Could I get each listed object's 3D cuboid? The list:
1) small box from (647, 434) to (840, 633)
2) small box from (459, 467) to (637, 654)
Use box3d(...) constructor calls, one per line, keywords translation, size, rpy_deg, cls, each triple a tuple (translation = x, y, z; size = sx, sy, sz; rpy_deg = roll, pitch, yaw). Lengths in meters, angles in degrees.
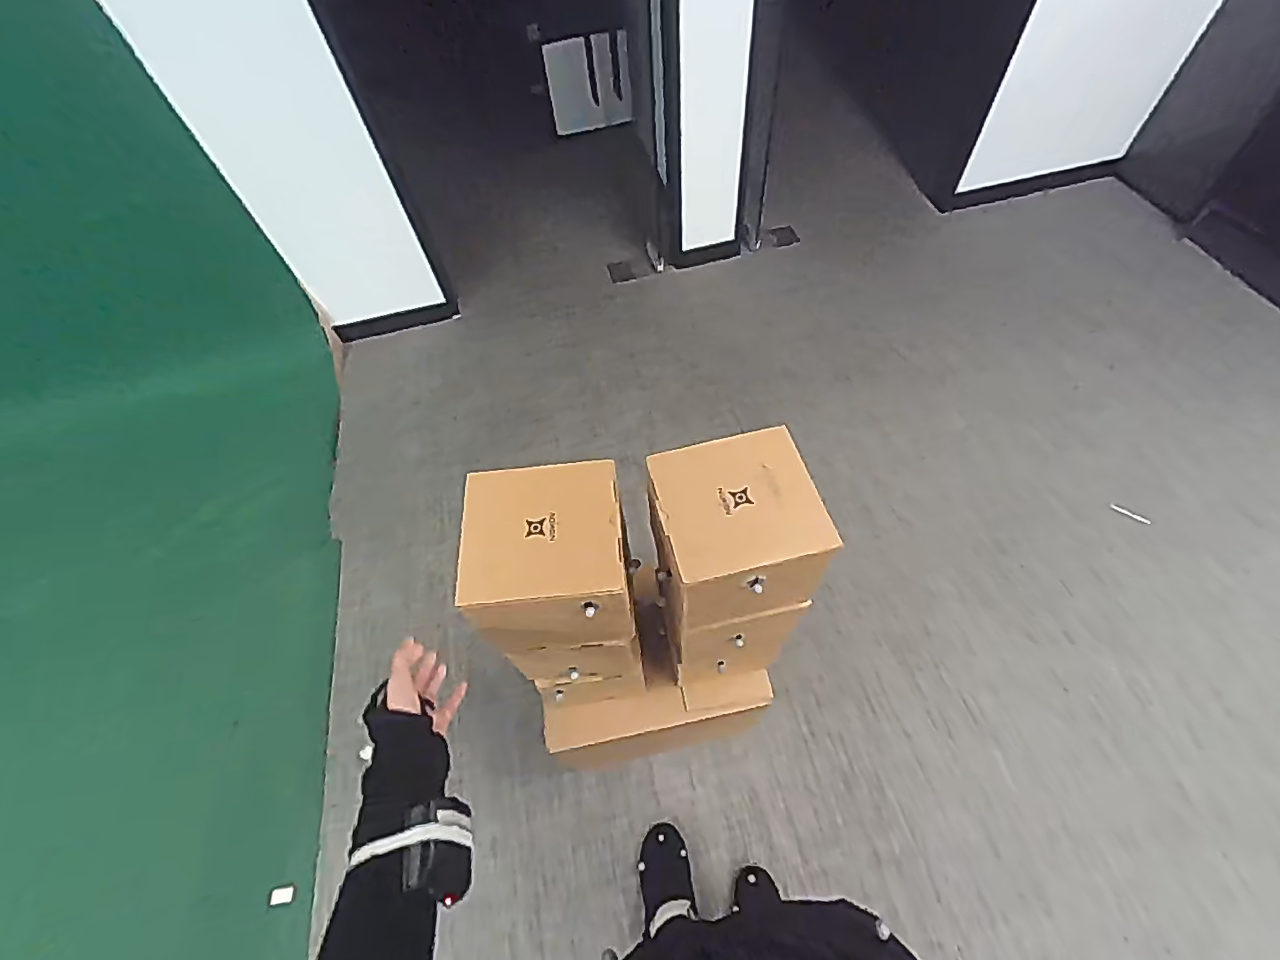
box3d(translation=(0.115, 0.073, 0.663), size=(0.179, 0.176, 0.168), rpy_deg=(-13, 58, -3), cls="small box")
box3d(translation=(-0.102, 0.105, 0.663), size=(0.179, 0.176, 0.168), rpy_deg=(-6, 57, -1), cls="small box")
